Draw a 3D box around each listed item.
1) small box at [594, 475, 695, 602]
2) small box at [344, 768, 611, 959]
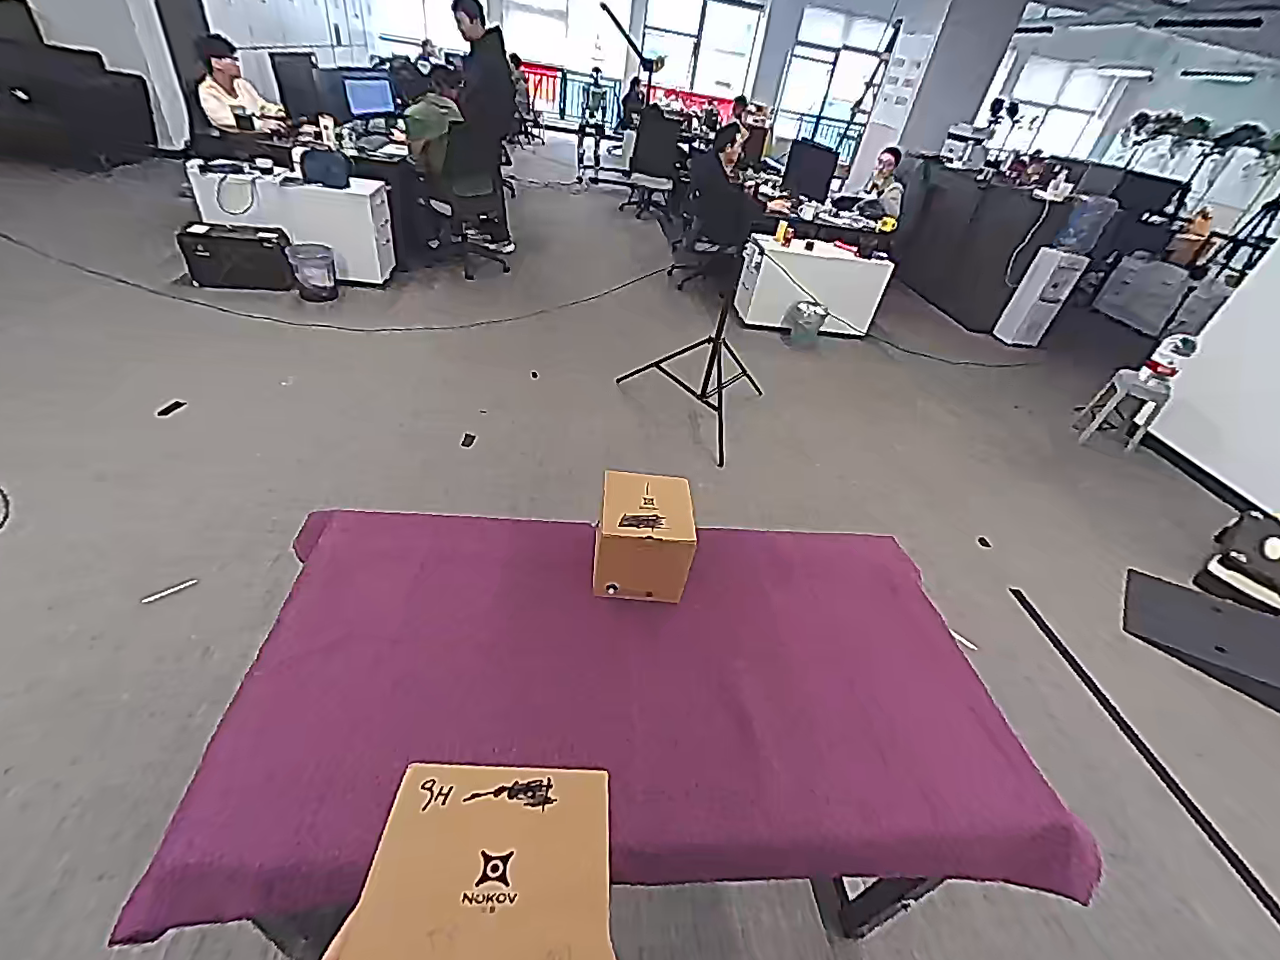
[{"bbox_3d":[0.004,0.114,1.032,0.168,0.176,0.179,6,38,-6],"label":"small box"},{"bbox_3d":[-0.111,0.354,0.408,0.168,0.176,0.179,6,26,-6],"label":"small box"}]
